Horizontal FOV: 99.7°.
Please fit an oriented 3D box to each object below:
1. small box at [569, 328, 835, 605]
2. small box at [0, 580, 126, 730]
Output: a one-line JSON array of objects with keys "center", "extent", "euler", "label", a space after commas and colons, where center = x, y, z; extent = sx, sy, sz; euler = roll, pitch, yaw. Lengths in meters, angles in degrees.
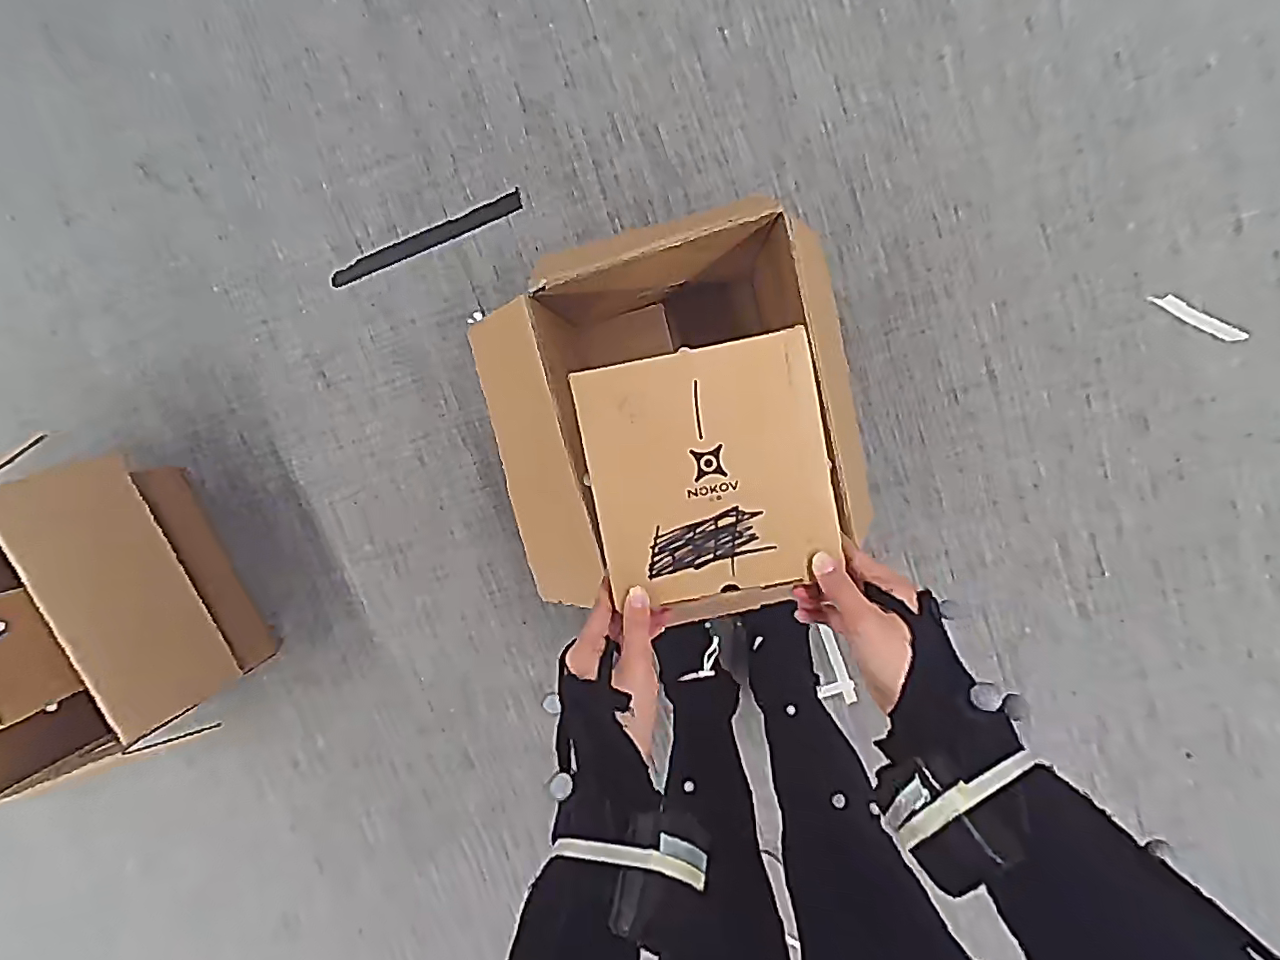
[{"center": [0.048, -0.014, 0.459], "extent": [0.168, 0.176, 0.179], "euler": [-11, 94, 3], "label": "small box"}, {"center": [-0.942, 0.264, 0.801], "extent": [0.168, 0.176, 0.179], "euler": [-20, 97, 8], "label": "small box"}]
